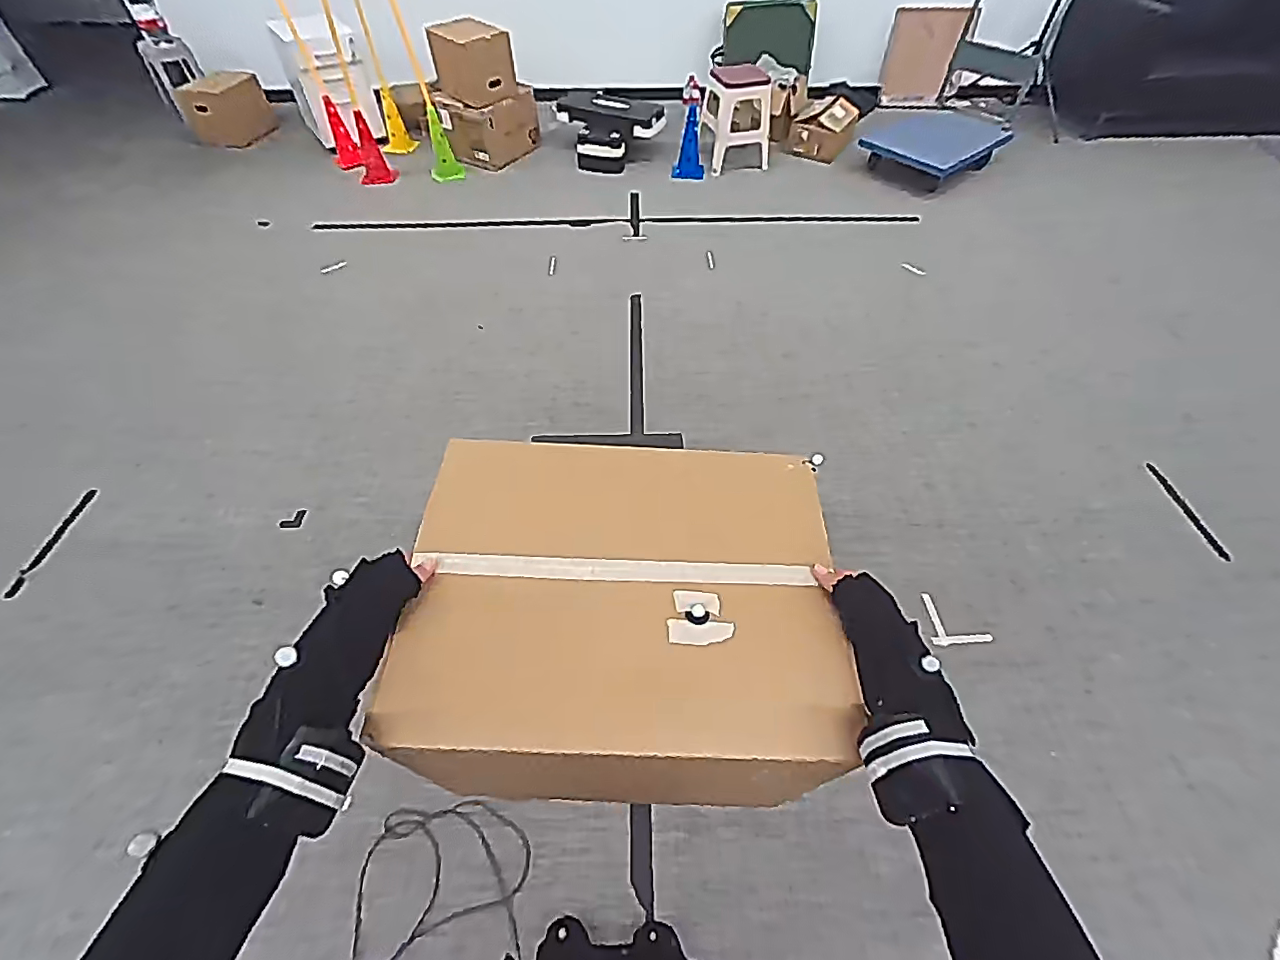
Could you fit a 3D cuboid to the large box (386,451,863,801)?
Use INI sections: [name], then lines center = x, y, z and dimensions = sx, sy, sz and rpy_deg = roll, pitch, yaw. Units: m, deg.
[large box]
center = -0.017, 0.186, 0.649
dimensions = 0.408, 0.320, 0.320
rpy_deg = 3, 53, -1
